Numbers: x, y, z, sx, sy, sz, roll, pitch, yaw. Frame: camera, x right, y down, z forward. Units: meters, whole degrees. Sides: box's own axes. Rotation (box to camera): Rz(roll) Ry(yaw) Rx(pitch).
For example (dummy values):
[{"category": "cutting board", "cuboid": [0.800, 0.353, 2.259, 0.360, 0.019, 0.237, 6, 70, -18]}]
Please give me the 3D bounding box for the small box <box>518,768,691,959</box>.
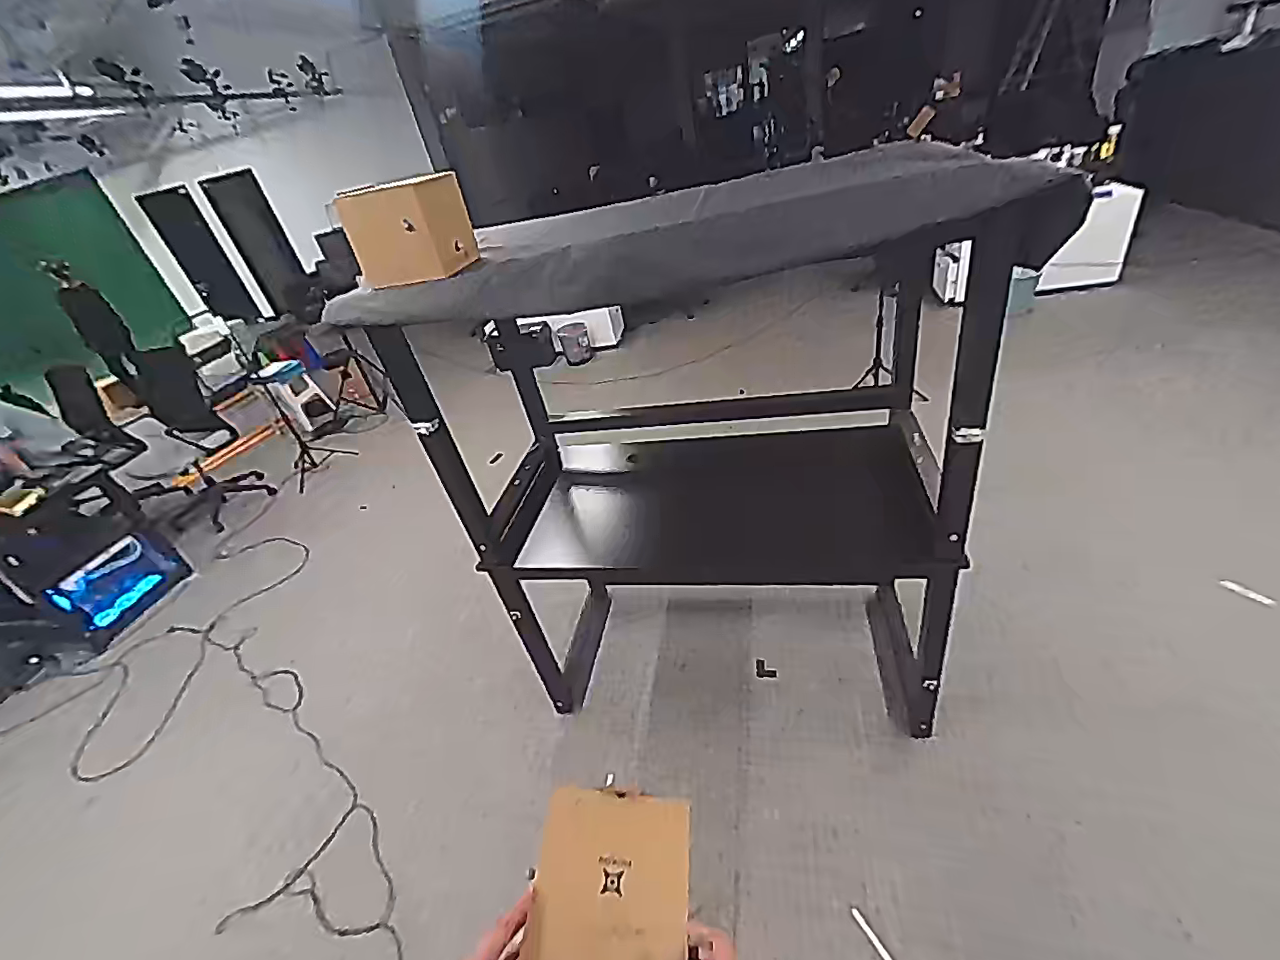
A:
[{"category": "small box", "cuboid": [-0.037, 0.464, 0.616, 0.168, 0.176, 0.179, 7, 38, -1]}]
